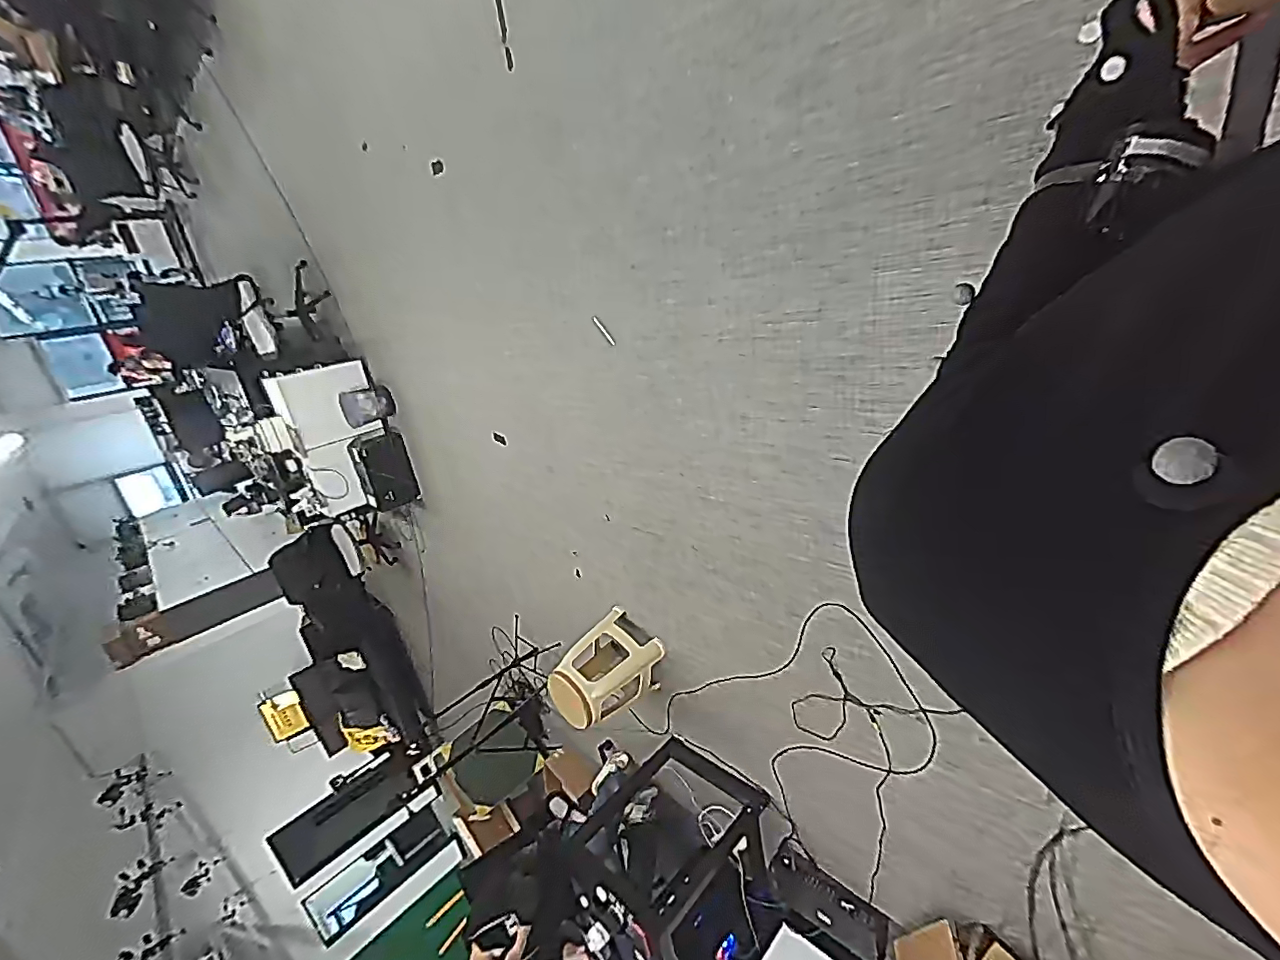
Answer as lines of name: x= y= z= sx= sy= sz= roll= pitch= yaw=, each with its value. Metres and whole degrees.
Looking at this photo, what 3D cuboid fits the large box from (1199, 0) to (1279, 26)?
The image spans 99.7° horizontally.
large box: x=0.406 y=-0.390 z=0.107 sx=0.408 sy=0.320 sz=0.320 roll=0 pitch=118 yaw=43
